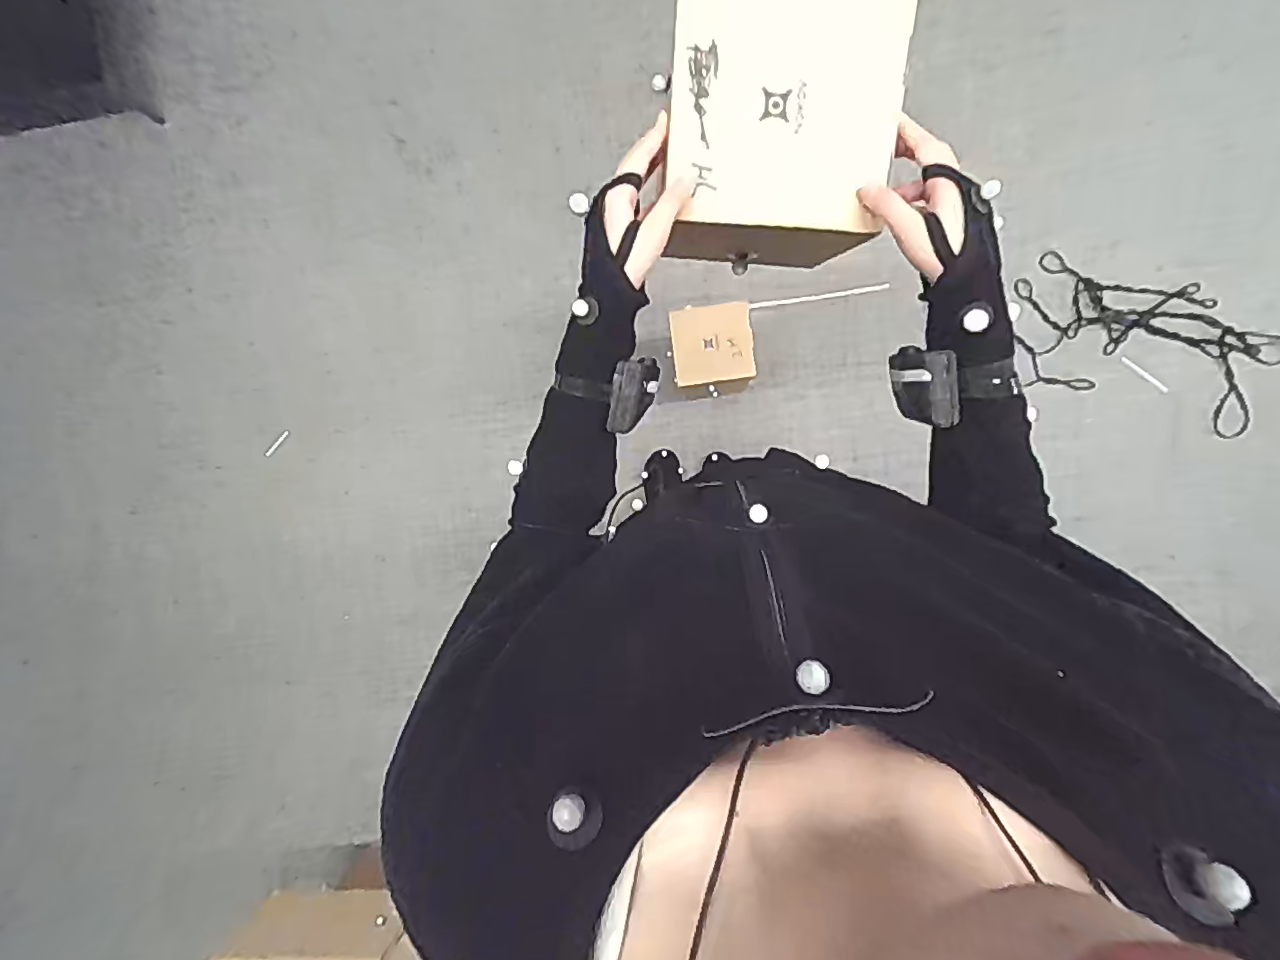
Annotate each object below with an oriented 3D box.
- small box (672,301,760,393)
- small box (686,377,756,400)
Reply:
[{"bbox_3d":[0.173,-0.297,1.243,0.179,0.176,0.168,-7,93,5],"label":"small box"},{"bbox_3d":[0.199,-0.305,1.406,0.179,0.176,0.168,-7,92,5],"label":"small box"}]
